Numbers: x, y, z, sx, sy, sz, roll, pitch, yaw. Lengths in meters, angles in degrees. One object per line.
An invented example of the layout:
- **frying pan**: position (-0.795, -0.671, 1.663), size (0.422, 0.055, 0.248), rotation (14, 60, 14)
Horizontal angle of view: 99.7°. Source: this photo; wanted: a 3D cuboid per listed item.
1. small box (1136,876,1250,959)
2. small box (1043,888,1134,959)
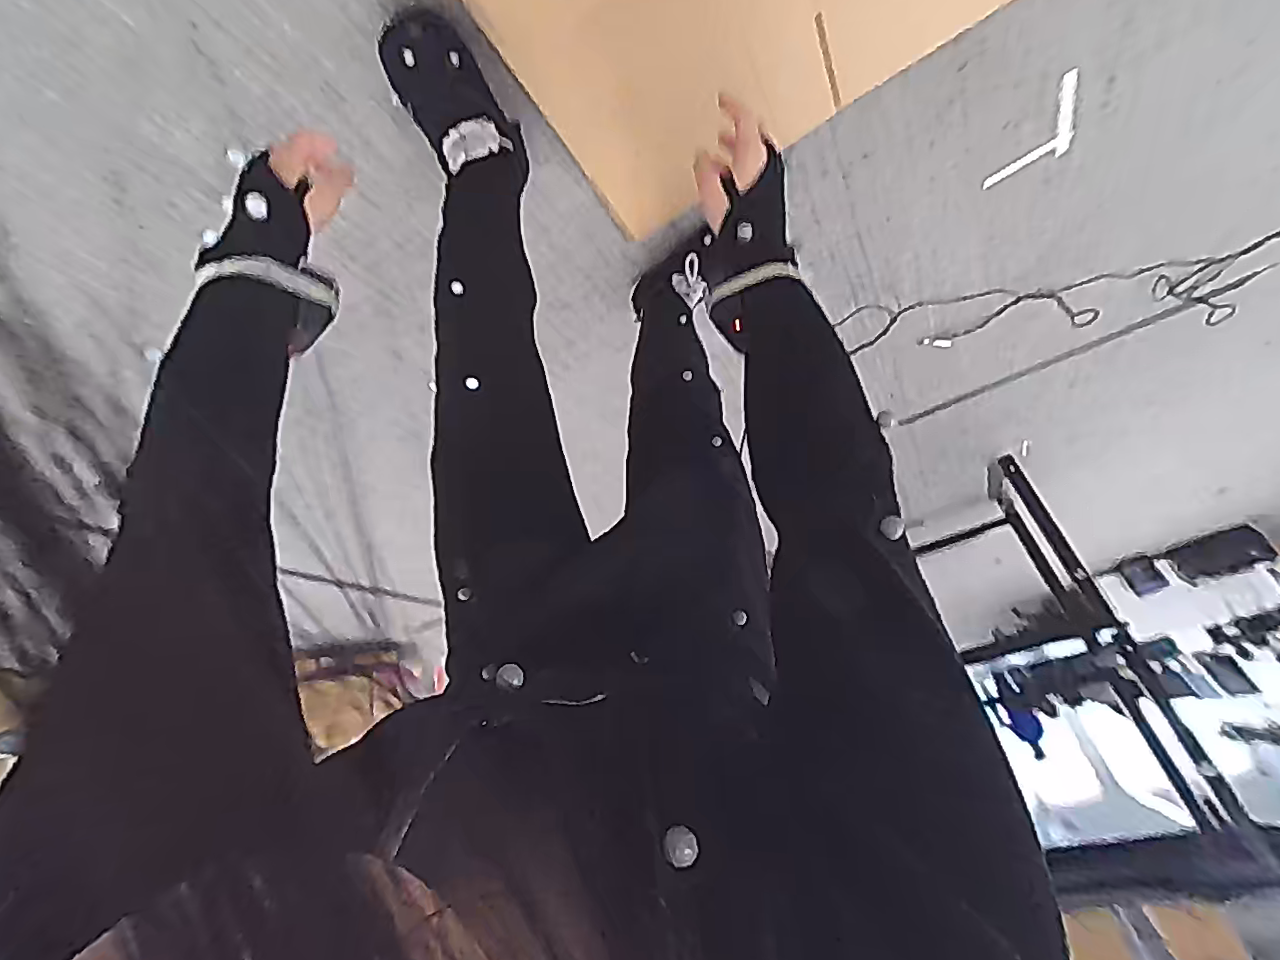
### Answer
- **small box**: position (1.675, 1.338, 1.652), size (0.168, 0.176, 0.179), rotation (-25, 150, 22)
- **small box**: position (1.446, 1.450, 1.749), size (0.168, 0.176, 0.179), rotation (-25, 150, 19)
